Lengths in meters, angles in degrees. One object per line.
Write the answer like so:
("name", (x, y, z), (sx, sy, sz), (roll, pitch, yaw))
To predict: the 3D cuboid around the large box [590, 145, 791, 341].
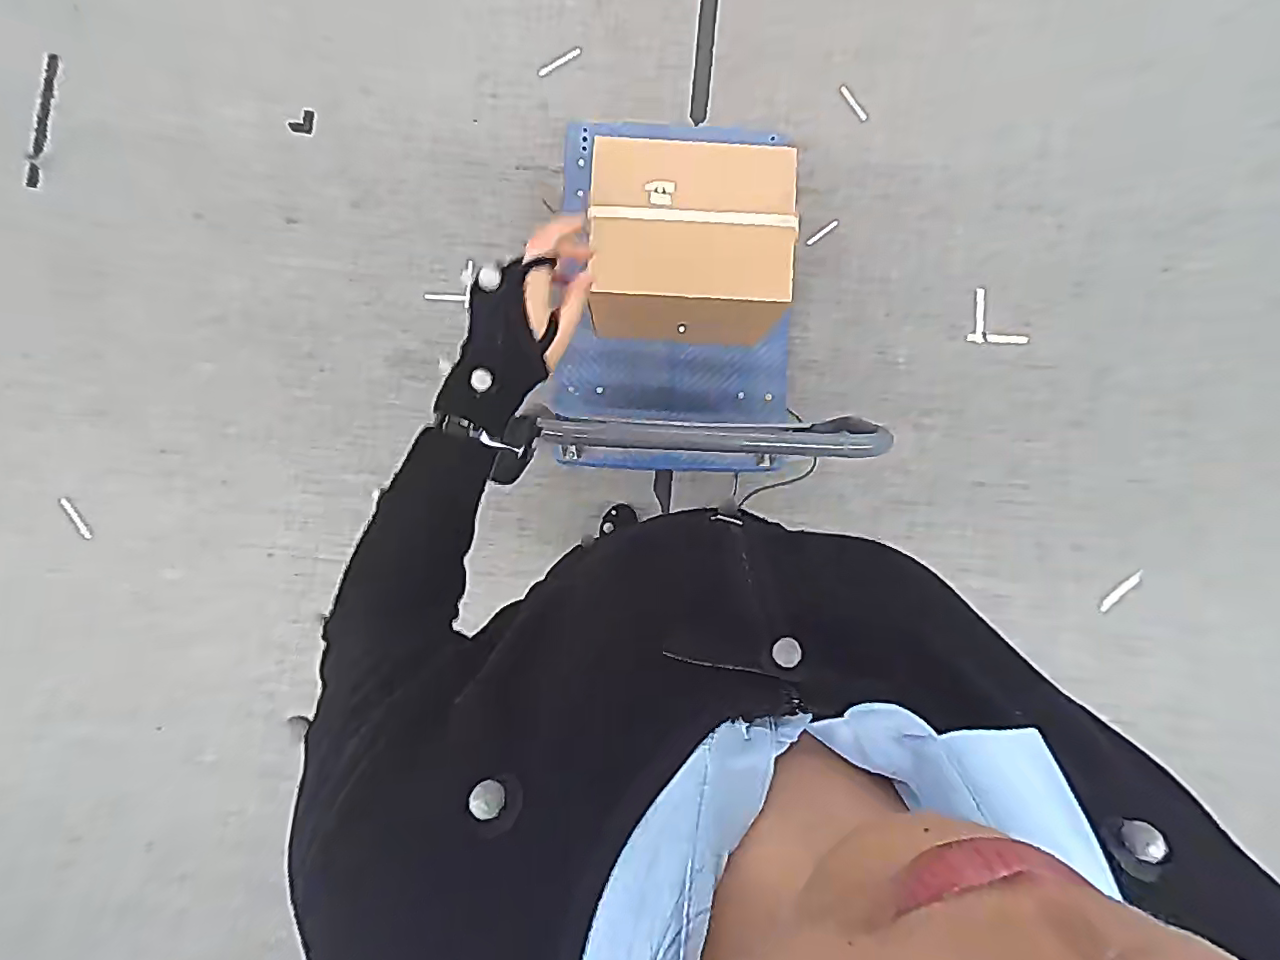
("large box", (0.105, -0.512, 1.230), (0.408, 0.320, 0.320), (2, 87, 0))
